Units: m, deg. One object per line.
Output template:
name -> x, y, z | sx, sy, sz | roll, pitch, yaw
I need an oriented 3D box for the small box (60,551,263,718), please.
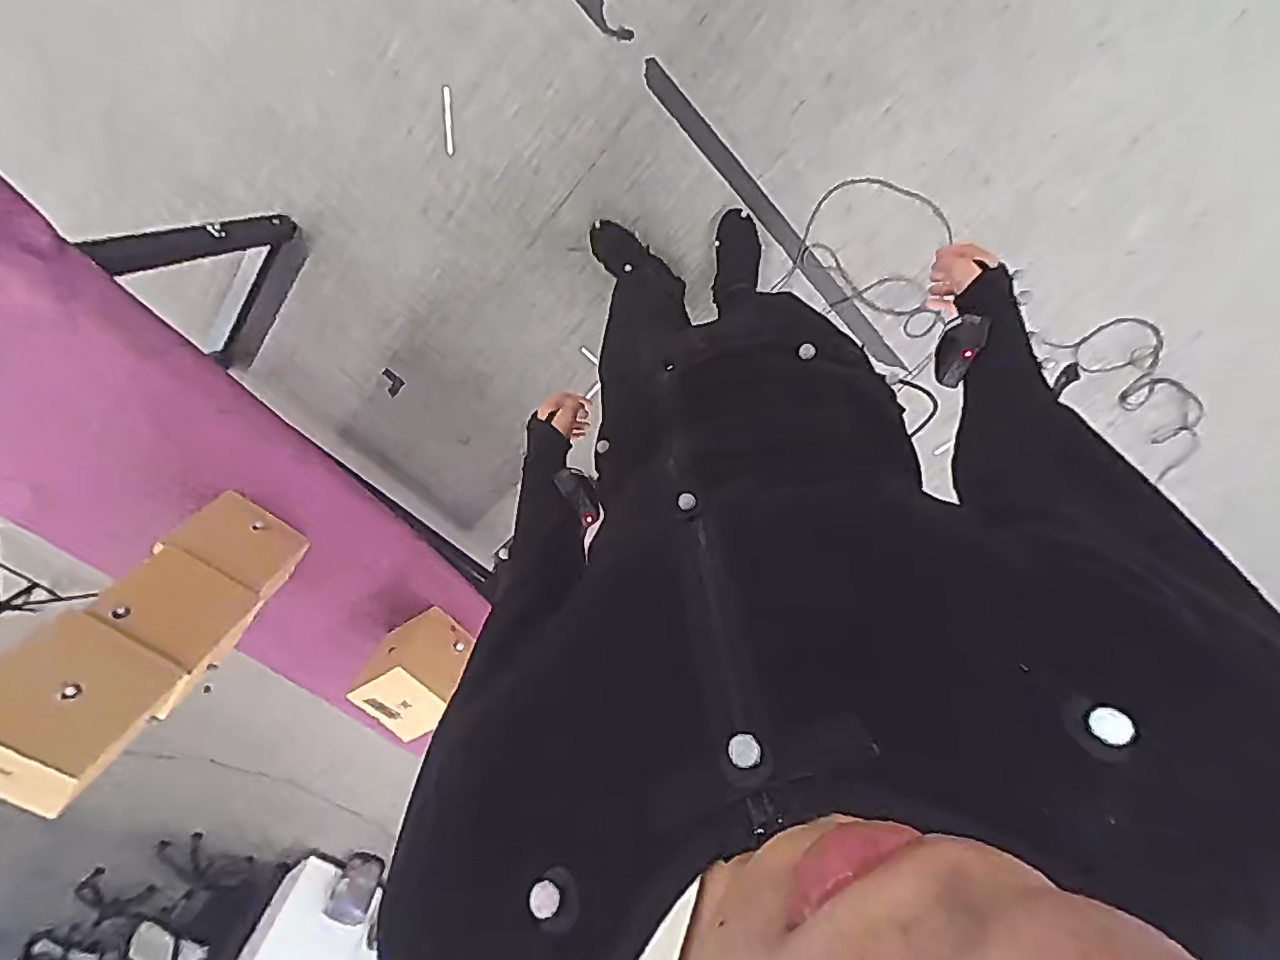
small box -> -0.781, 0.251, 0.898 | 0.179, 0.176, 0.168 | 39, 118, -15

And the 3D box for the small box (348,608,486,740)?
small box -> -0.458, 0.405, 1.139 | 0.179, 0.176, 0.168 | -31, 112, 22

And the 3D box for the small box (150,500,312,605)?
small box -> -0.784, 0.162, 1.036 | 0.179, 0.176, 0.168 | 39, 119, -15
